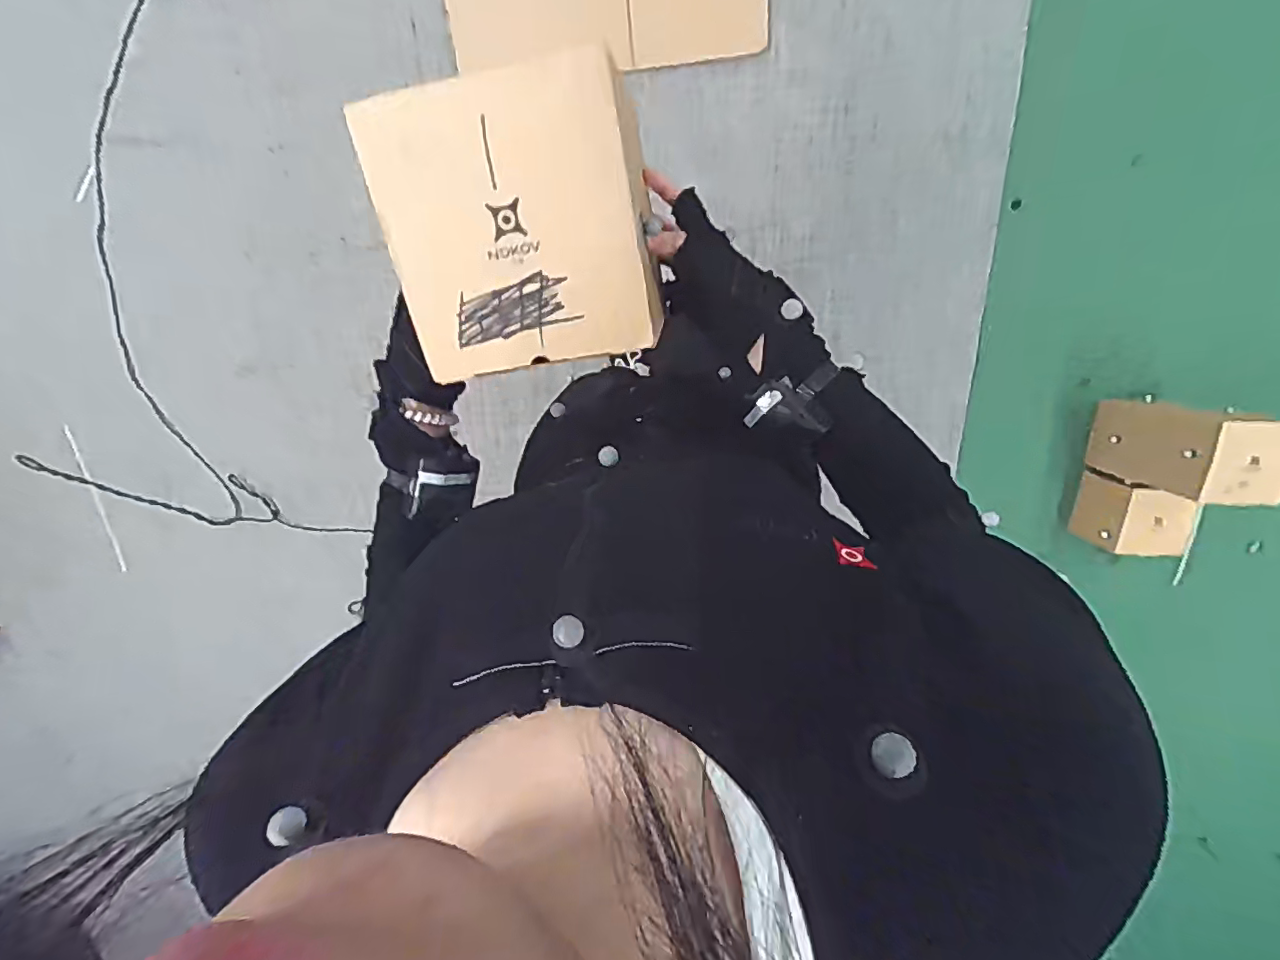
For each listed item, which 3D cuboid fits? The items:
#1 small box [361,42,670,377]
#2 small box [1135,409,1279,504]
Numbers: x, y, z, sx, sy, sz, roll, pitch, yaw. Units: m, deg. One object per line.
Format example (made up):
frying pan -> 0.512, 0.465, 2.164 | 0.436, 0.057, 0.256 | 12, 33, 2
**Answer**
small box -> -0.069, -0.195, 0.420 | 0.168, 0.176, 0.179 | -7, 114, 8
small box -> 1.242, -0.058, 1.178 | 0.168, 0.176, 0.179 | 1, 108, 3
